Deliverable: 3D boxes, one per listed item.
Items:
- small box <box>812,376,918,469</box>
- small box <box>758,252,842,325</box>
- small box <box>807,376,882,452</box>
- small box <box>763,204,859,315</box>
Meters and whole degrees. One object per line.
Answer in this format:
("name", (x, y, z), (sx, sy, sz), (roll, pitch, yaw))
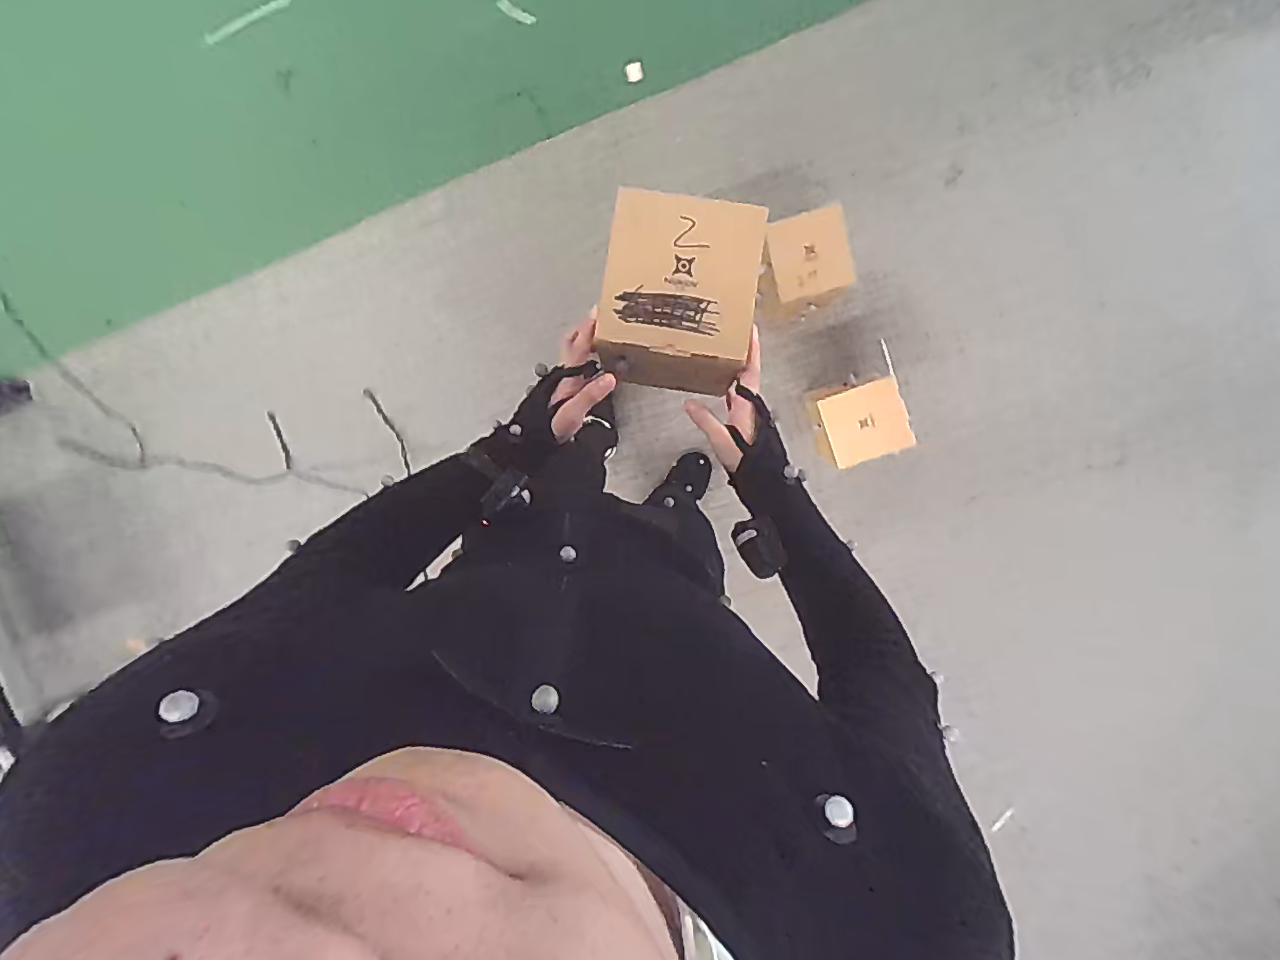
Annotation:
("small box", (0.517, -0.134, 1.274), (0.179, 0.176, 0.168), (-19, 94, 10))
("small box", (0.409, -0.510, 1.404), (0.168, 0.176, 0.179), (-14, 96, 9))
("small box", (0.553, -0.165, 1.429), (0.168, 0.176, 0.179), (-15, 96, 10))
("small box", (0.384, -0.496, 1.242), (0.168, 0.176, 0.179), (-13, 97, 10))
